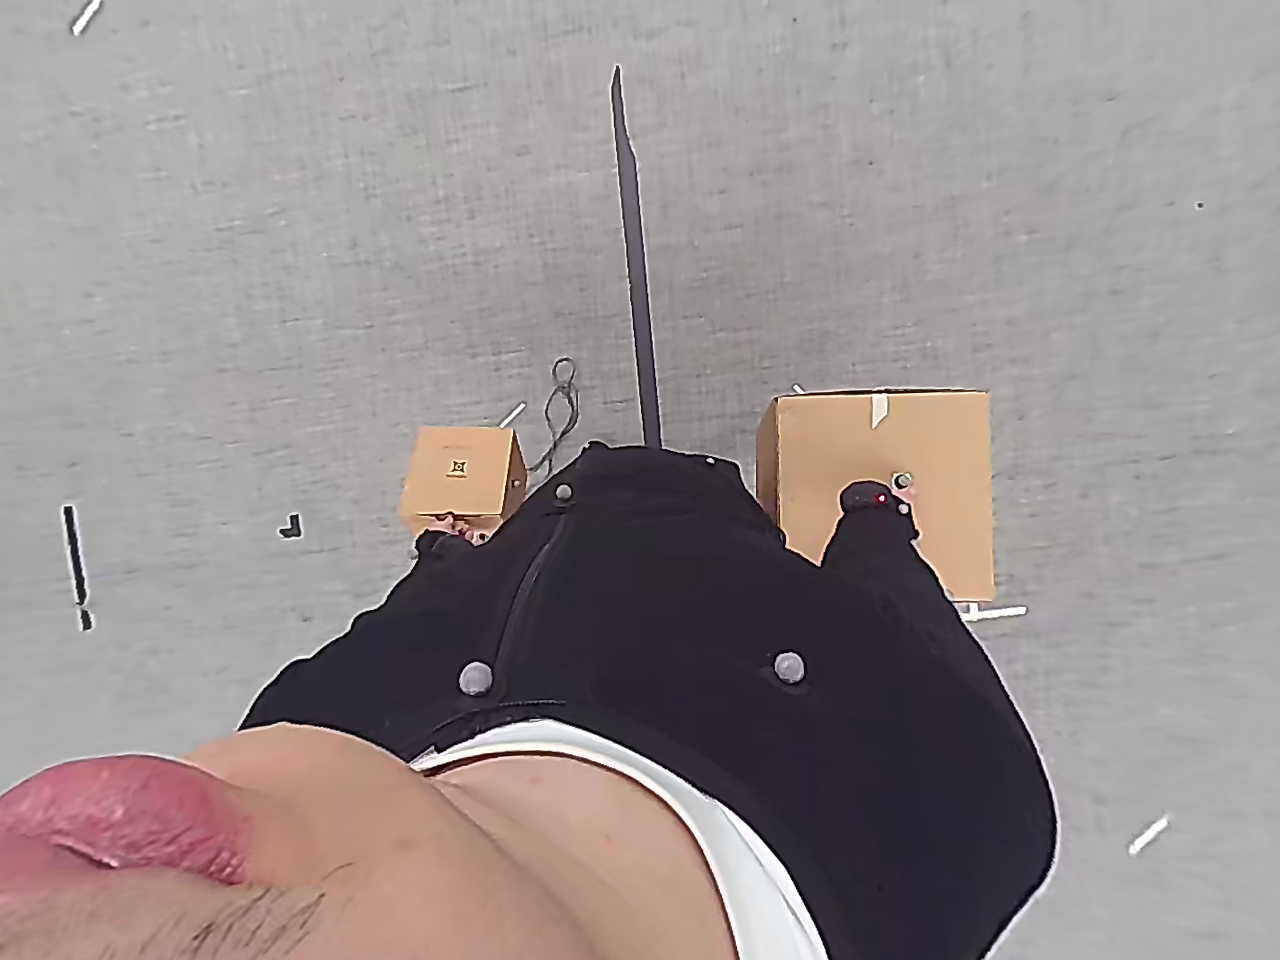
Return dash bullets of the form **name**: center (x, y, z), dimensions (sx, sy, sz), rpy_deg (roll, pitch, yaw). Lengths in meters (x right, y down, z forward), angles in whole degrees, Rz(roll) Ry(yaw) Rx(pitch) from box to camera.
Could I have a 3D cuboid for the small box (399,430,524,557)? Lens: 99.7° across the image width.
- **small box**: center (-0.307, 0.029, 0.971), dimensions (0.168, 0.176, 0.179), rpy_deg (1, 59, -3)
